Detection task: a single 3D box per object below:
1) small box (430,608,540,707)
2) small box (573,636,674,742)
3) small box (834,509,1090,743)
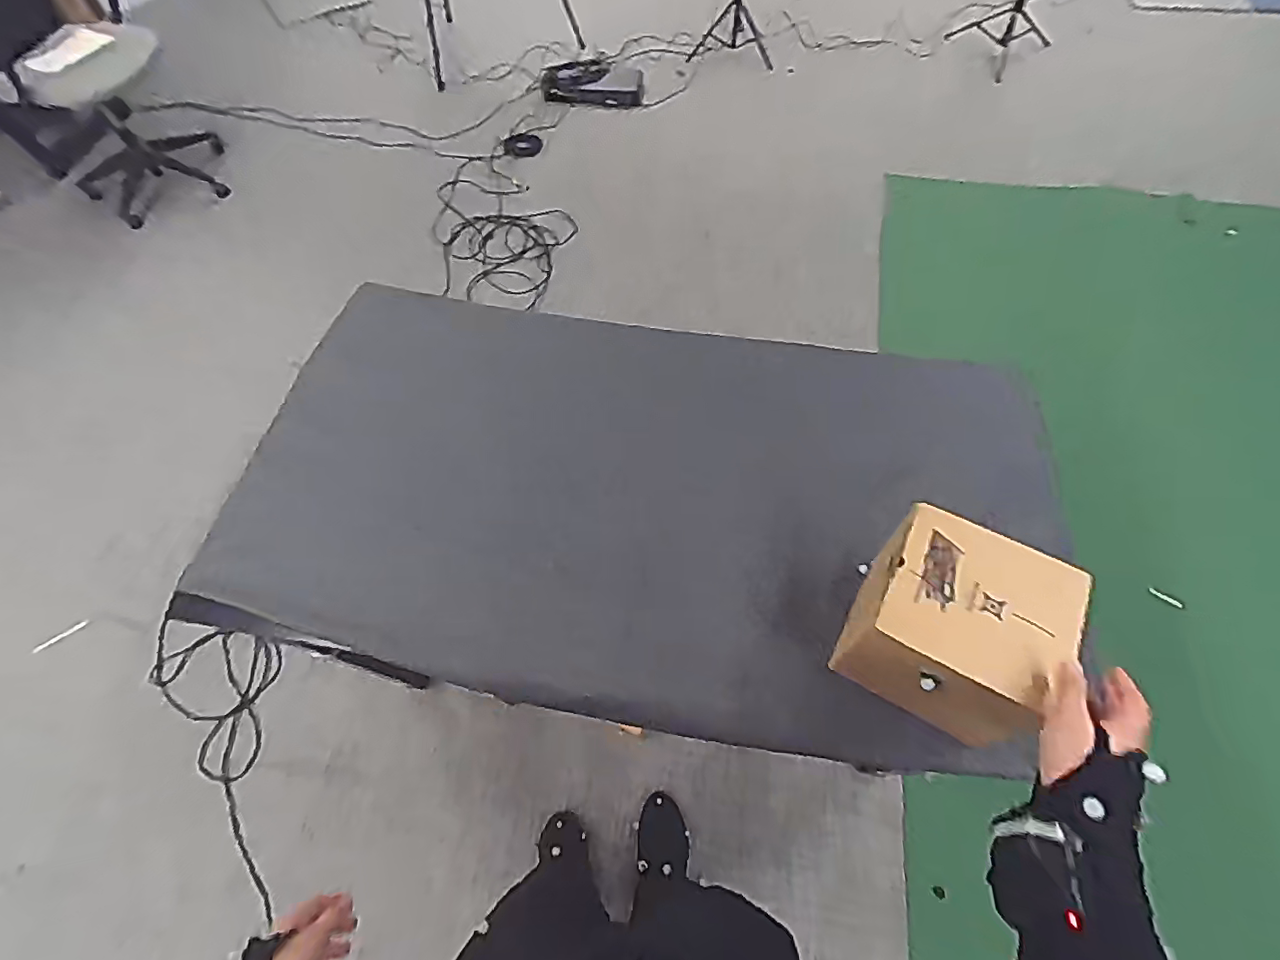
[{"bbox_3d":[-0.370,0.440,1.326,0.179,0.176,0.168,18,63,14],"label":"small box"},{"bbox_3d":[-0.031,0.498,1.276,0.179,0.176,0.168,25,64,18],"label":"small box"},{"bbox_3d":[0.339,0.168,0.600,0.179,0.176,0.168,26,63,18],"label":"small box"}]
